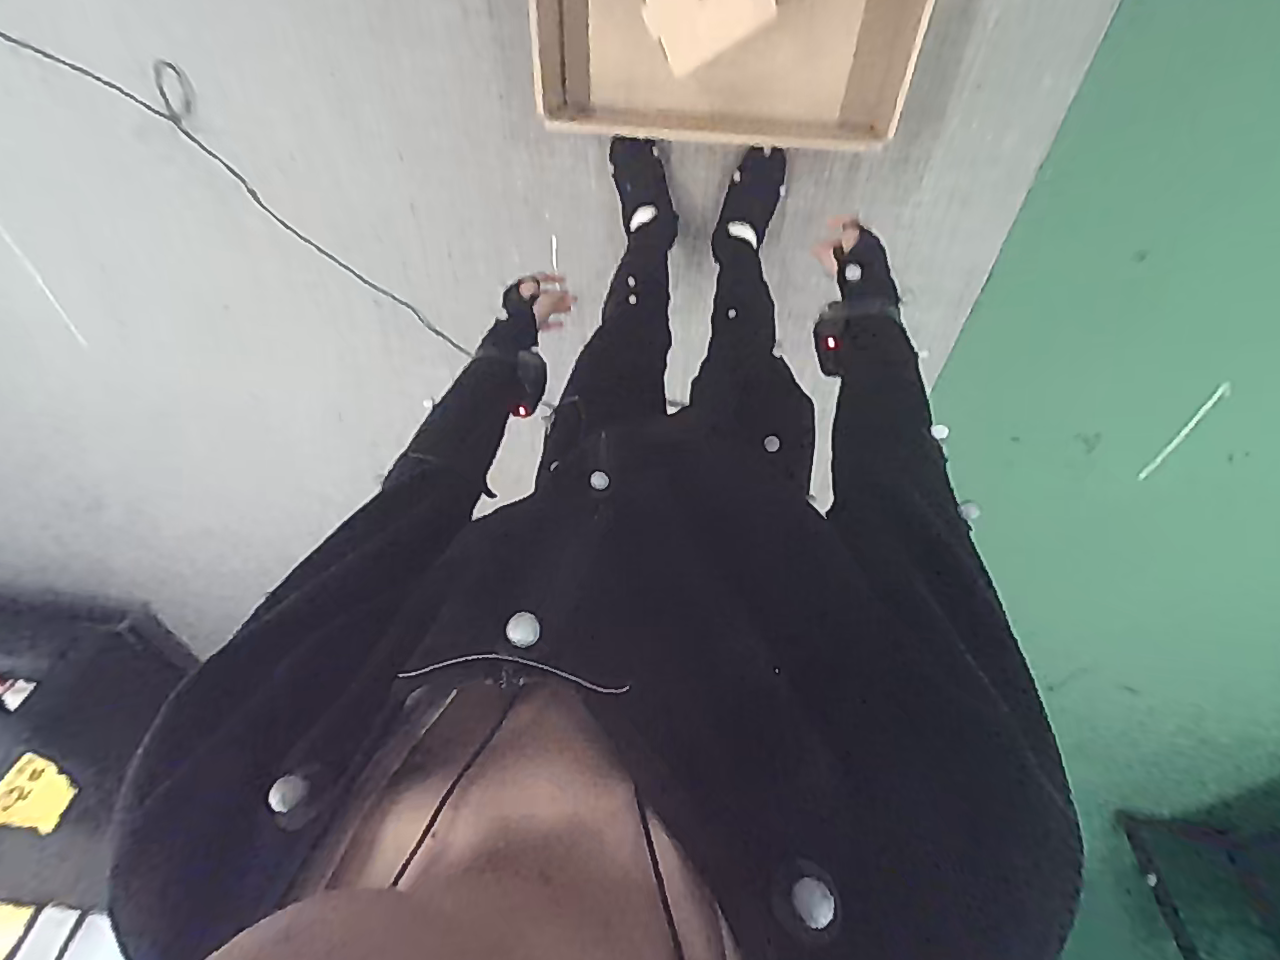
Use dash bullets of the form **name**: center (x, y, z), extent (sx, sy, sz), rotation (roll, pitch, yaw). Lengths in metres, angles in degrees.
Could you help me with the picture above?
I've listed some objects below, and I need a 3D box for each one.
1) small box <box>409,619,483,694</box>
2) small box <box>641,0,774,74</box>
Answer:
- **small box**: center (-0.683, 0.624, 1.916), extent (0.168, 0.176, 0.179), rotation (33, 130, -19)
- **small box**: center (0.101, -0.779, 0.847), extent (0.179, 0.176, 0.168), rotation (-17, 127, 24)
